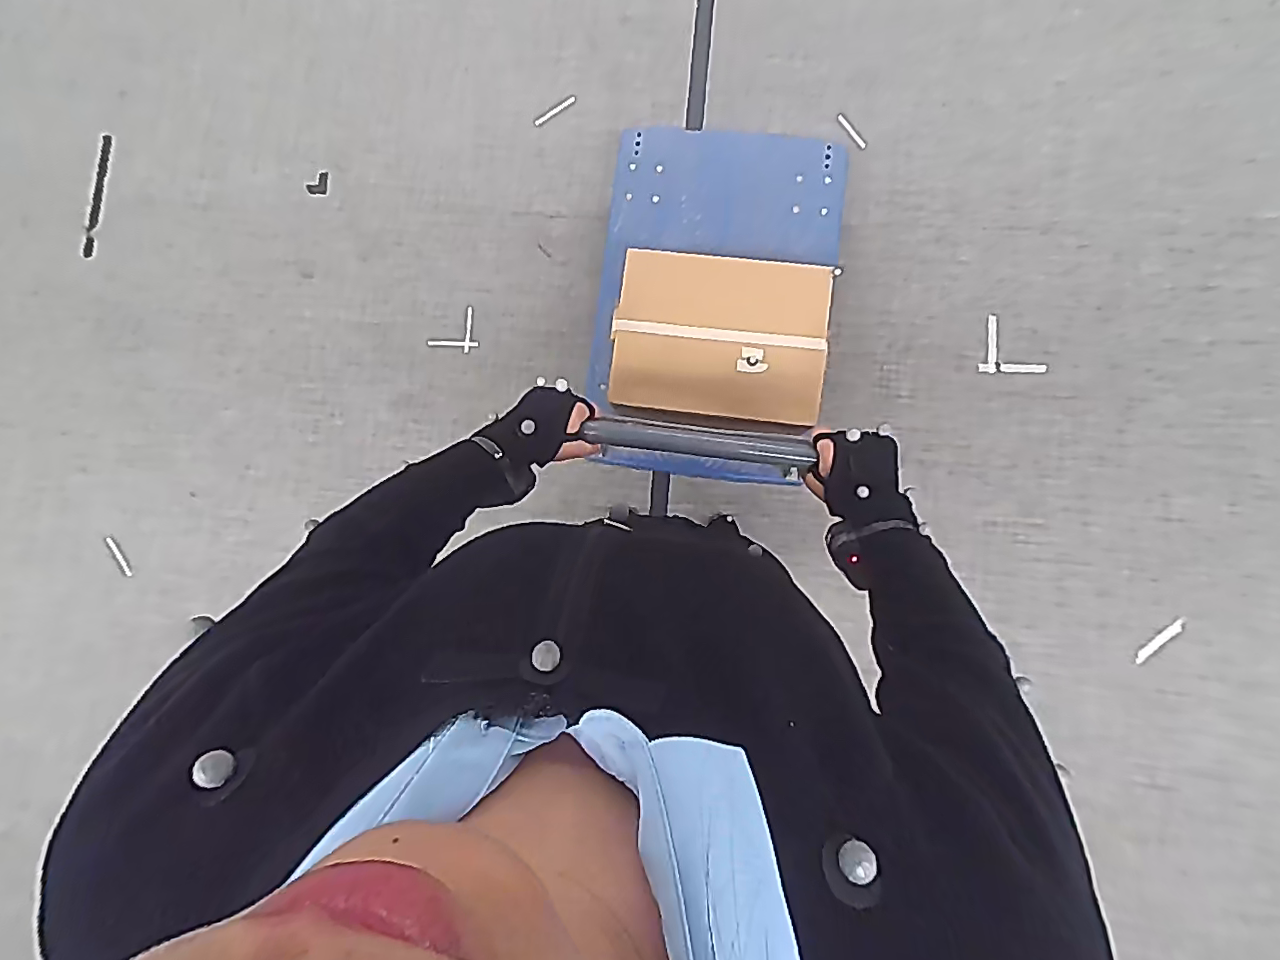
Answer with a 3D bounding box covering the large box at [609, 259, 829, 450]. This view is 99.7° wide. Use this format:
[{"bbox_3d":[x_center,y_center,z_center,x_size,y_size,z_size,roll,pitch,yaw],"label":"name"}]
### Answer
[{"bbox_3d":[0.157,-0.254,1.192,0.408,0.320,0.320,7,88,3],"label":"large box"}]
